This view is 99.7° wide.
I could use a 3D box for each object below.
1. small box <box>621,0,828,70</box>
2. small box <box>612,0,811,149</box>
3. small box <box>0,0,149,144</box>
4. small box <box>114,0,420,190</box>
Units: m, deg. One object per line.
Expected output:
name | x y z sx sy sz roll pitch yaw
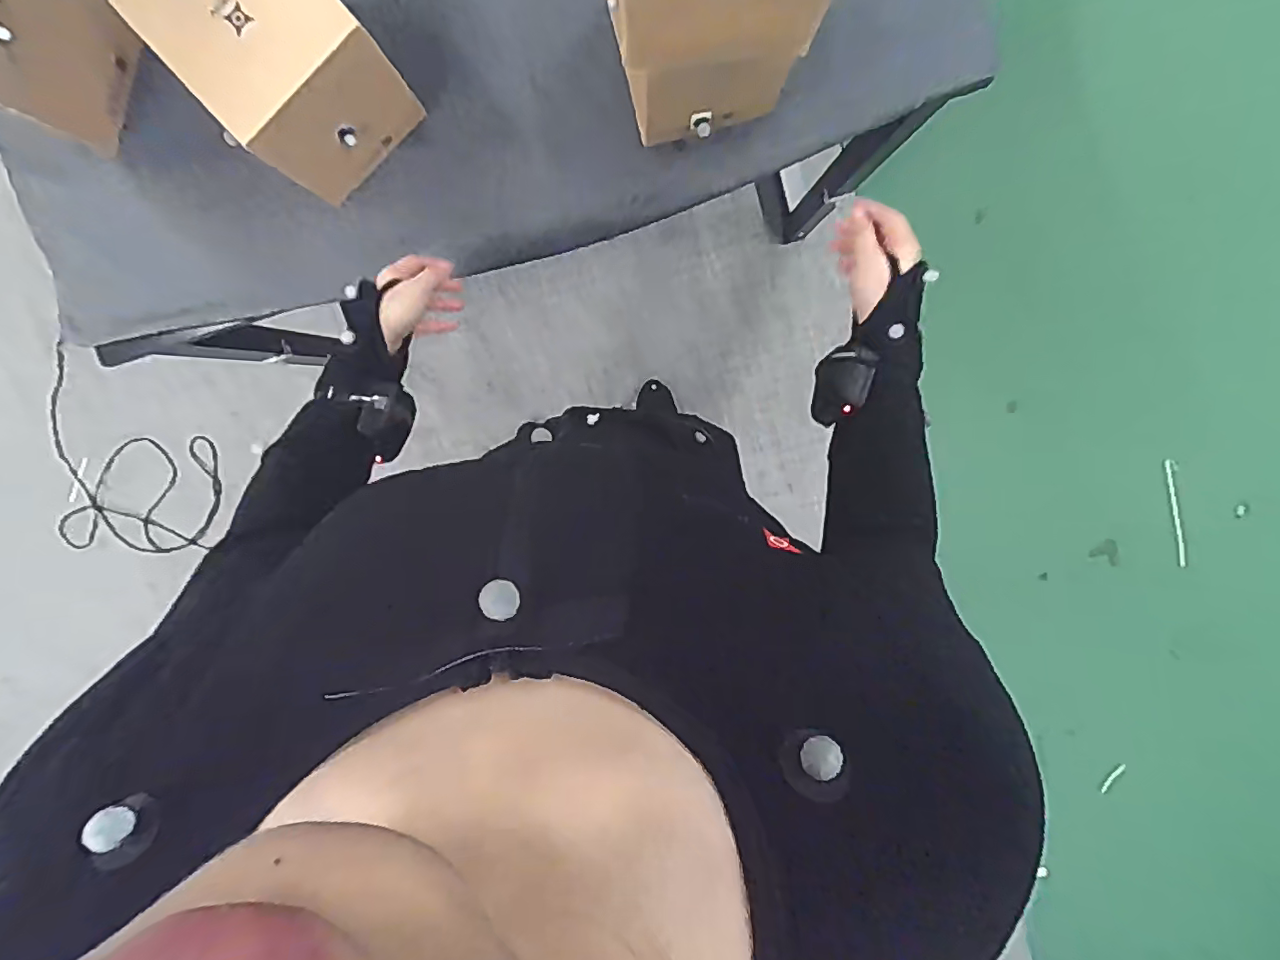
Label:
small box | 0.067 -0.461 0.421 0.179 0.176 0.168 -4 98 2
small box | 0.064 -0.500 0.580 0.168 0.176 0.179 -15 99 3
small box | -0.702 -0.503 0.581 0.179 0.176 0.168 24 99 -4
small box | -0.378 -0.451 0.588 0.168 0.176 0.179 -41 96 6
